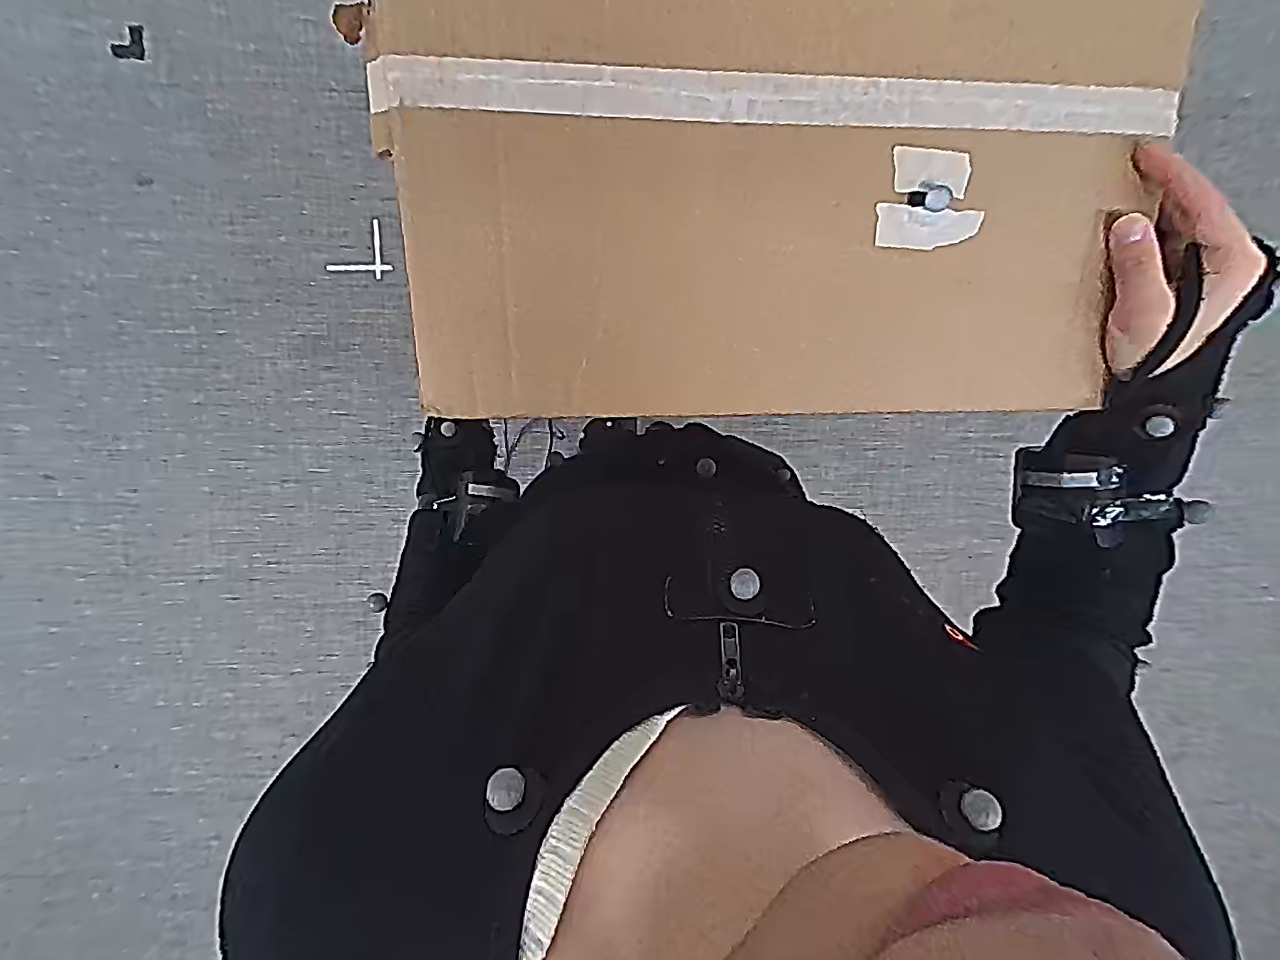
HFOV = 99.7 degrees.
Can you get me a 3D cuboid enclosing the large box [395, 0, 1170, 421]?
[{"bbox_3d":[0.064,-0.228,0.425,0.408,0.320,0.320,-2,106,-7],"label":"large box"}]
